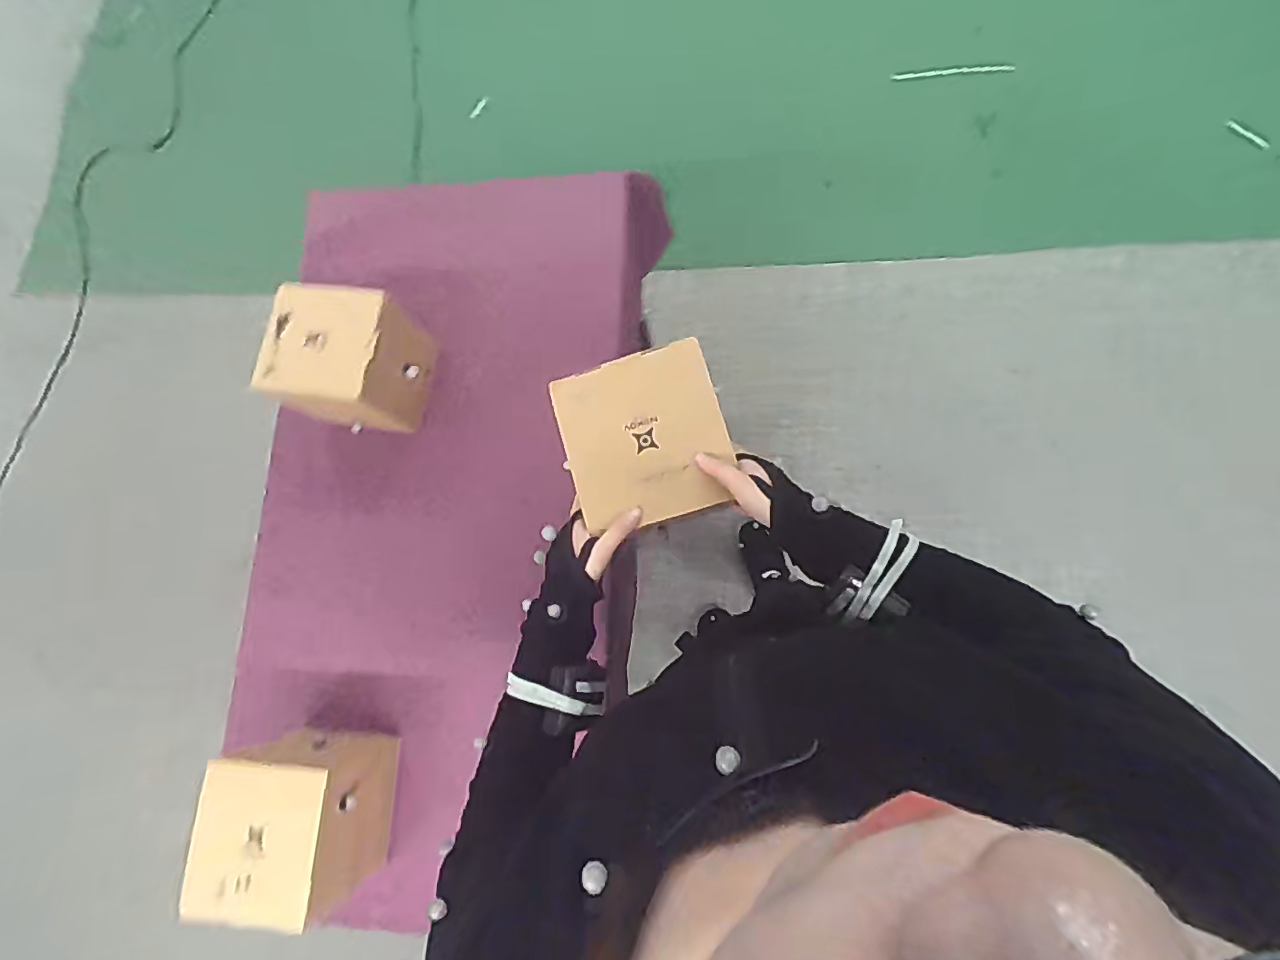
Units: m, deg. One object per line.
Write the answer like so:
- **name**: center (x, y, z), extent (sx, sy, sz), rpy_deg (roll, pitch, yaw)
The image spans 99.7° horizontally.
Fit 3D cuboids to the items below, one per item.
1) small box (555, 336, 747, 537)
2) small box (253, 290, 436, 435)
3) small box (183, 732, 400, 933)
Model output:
- **small box**: center (0.017, -0.037, 0.628), extent (0.168, 0.176, 0.179), rpy_deg (-16, 82, 6)
- **small box**: center (-0.454, -0.177, 0.860), extent (0.179, 0.176, 0.168), rpy_deg (7, 79, 8)
- **small box**: center (-0.449, 0.453, 0.728), extent (0.168, 0.176, 0.179), rpy_deg (1, 78, 8)
